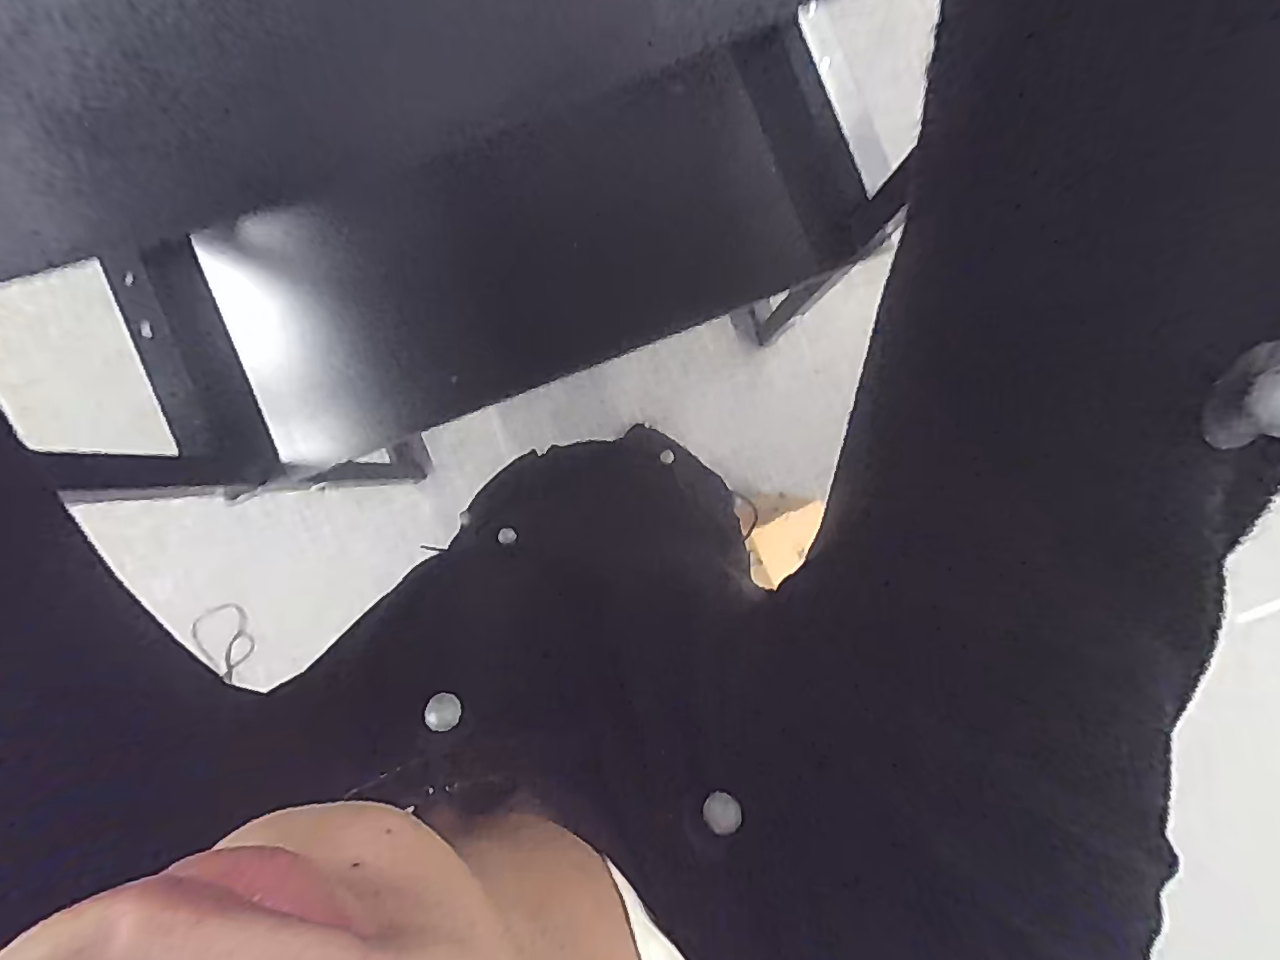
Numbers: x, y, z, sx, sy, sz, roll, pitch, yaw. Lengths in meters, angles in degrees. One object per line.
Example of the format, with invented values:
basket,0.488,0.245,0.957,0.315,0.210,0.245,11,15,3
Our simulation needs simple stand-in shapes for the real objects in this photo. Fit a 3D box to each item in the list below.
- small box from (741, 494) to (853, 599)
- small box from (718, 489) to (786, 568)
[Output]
small box,0.349,0.142,1.231,0.168,0.176,0.179,-25,91,0
small box,0.341,0.132,1.558,0.179,0.176,0.168,-24,91,1
